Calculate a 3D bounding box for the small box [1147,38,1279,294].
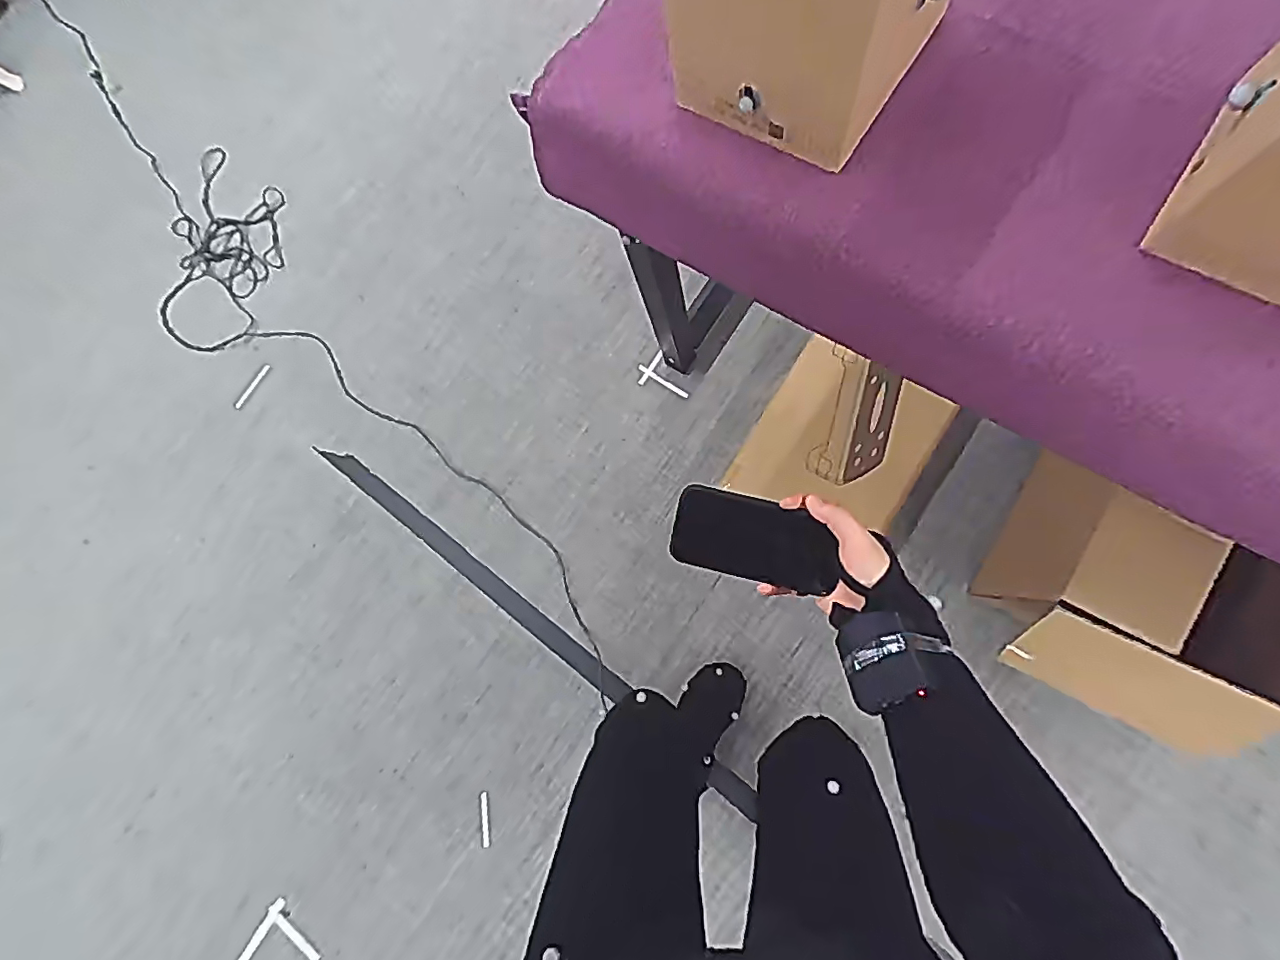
[{"bbox_3d":[0.475,-0.217,0.312,0.179,0.176,0.168,32,85,13],"label":"small box"}]
